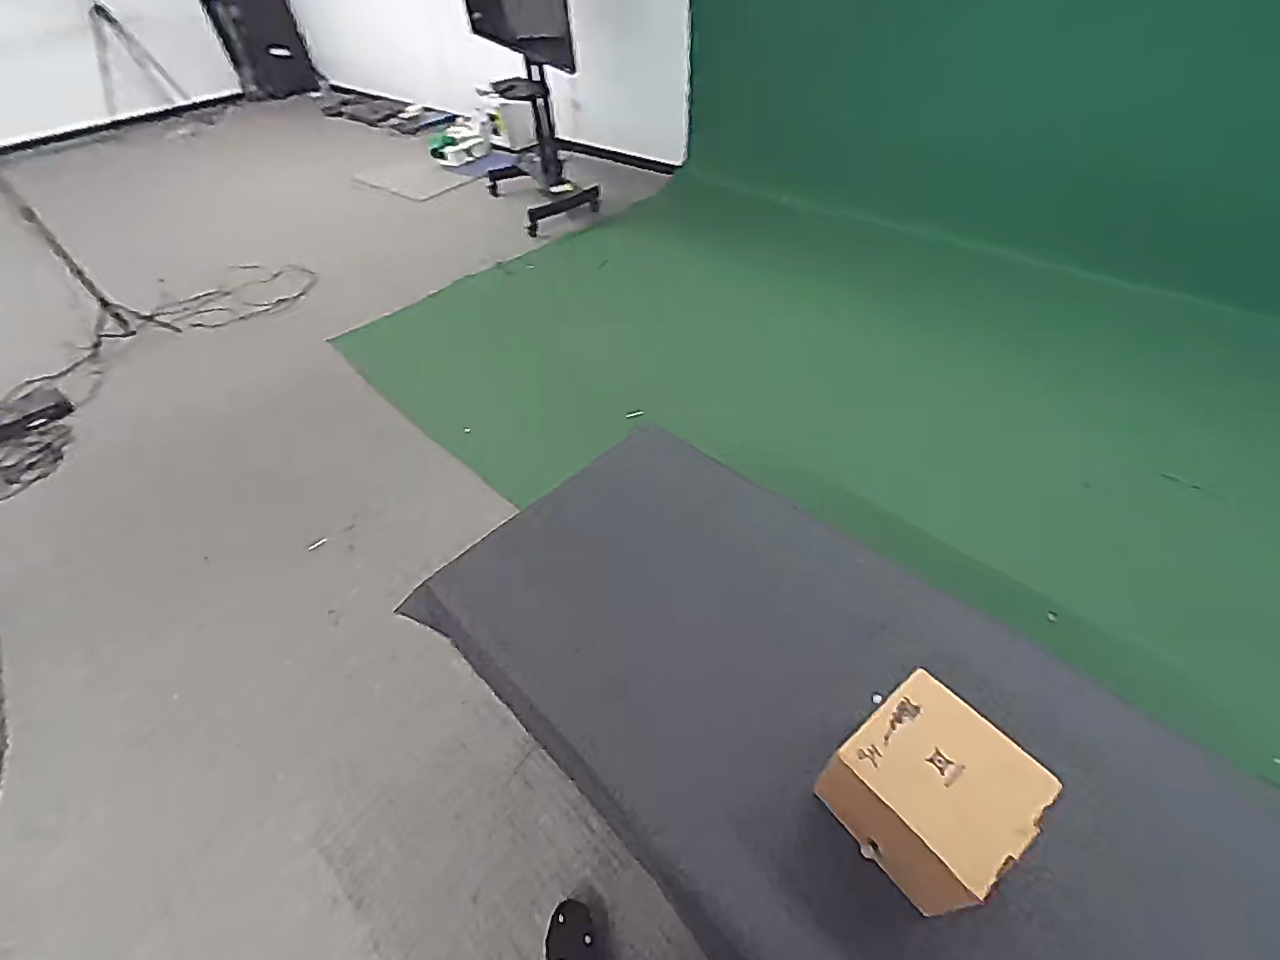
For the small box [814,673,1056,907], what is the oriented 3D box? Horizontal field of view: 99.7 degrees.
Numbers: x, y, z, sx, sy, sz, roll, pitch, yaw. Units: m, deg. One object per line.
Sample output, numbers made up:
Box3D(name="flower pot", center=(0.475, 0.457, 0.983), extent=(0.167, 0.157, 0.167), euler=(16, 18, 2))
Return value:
Box3D(name="small box", center=(0.344, 0.382, 0.666), extent=(0.168, 0.176, 0.179), euler=(-31, 53, -22))
